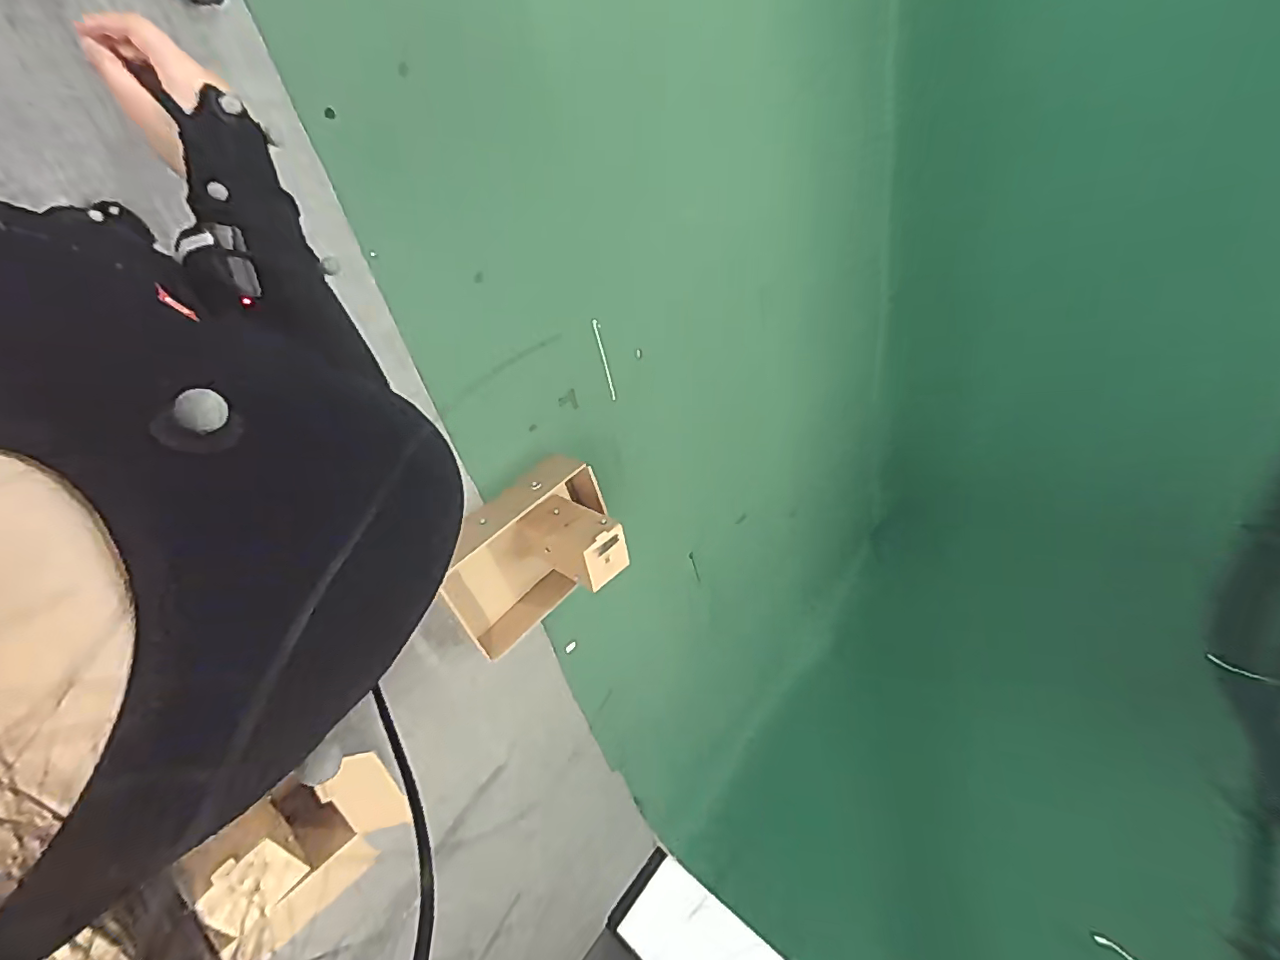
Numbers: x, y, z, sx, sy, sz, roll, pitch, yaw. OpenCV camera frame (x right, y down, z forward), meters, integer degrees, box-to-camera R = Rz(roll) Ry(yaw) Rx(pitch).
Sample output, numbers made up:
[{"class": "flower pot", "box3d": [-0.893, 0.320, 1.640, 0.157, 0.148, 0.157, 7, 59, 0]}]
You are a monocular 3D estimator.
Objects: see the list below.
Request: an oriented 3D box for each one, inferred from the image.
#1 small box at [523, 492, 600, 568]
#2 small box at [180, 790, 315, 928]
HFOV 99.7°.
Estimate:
[{"class": "small box", "box3d": [-0.270, 0.164, 1.862, 0.179, 0.176, 0.168, -39, 131, -30]}, {"class": "small box", "box3d": [-0.893, 0.854, 1.233, 0.168, 0.176, 0.179, -42, 132, -33]}]
